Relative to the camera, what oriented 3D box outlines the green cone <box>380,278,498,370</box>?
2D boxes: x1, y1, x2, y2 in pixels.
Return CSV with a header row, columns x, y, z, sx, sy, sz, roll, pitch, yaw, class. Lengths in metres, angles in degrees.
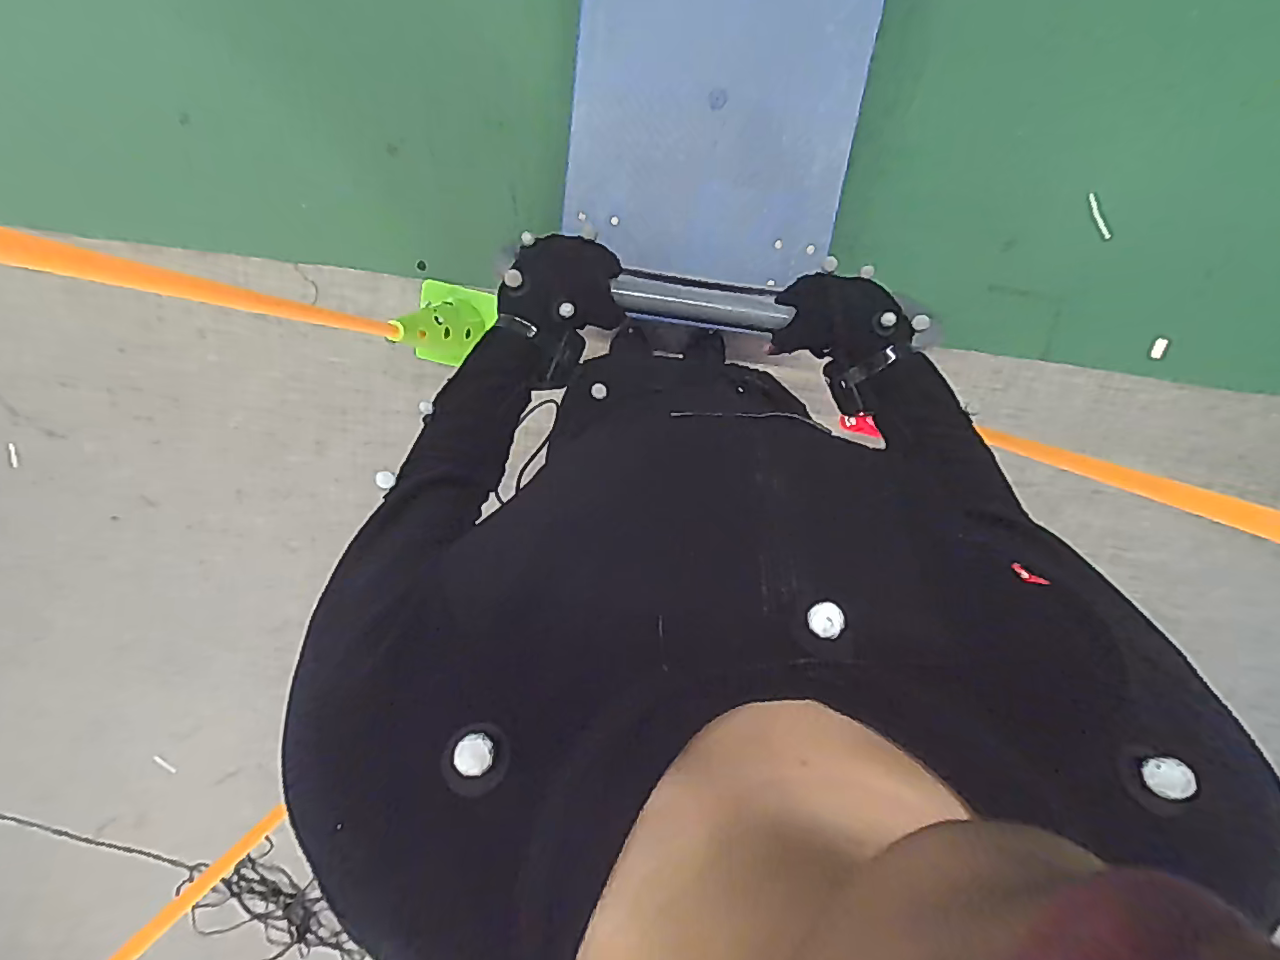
x,y,z,sx,sy,sz,roll,pitch,yaw,class
-0.480,-0.354,1.231,0.202,0.368,0.200,12,106,-1,green cone
